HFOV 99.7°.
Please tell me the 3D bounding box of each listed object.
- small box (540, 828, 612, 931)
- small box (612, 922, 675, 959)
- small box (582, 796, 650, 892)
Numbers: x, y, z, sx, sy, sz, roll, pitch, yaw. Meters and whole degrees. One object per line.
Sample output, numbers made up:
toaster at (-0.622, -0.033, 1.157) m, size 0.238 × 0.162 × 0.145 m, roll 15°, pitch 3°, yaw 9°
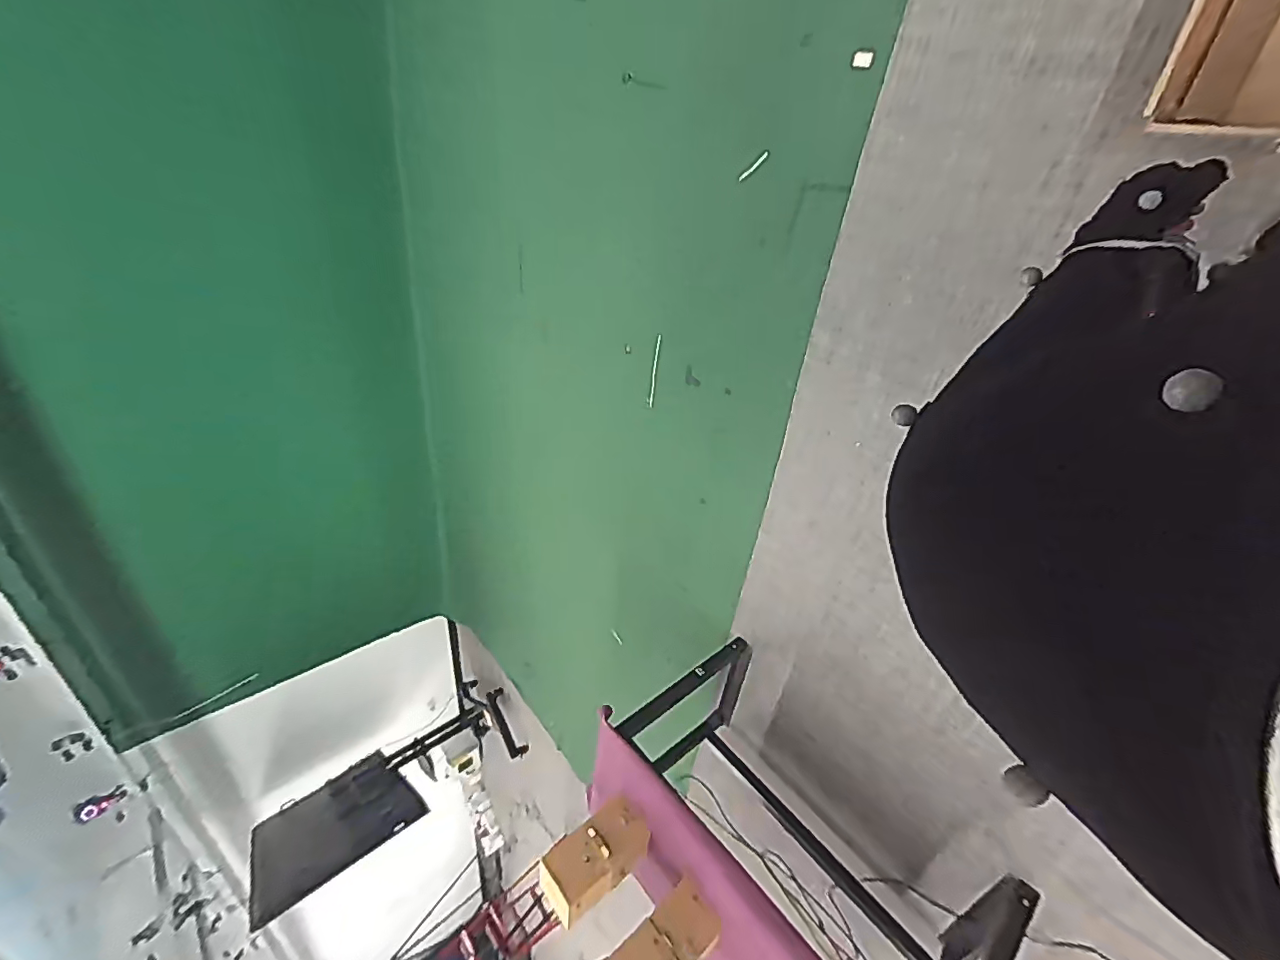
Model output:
small box at (-0.205, 1.273, 1.731) m, size 0.168 × 0.176 × 0.179 m, roll 33°, pitch 130°, yaw 37°
small box at (0.009, 1.414, 1.533) m, size 0.168 × 0.176 × 0.179 m, roll 36°, pitch 133°, yaw 36°
small box at (-0.082, 1.223, 1.826) m, size 0.168 × 0.176 × 0.179 m, roll 32°, pitch 130°, yaw 37°
